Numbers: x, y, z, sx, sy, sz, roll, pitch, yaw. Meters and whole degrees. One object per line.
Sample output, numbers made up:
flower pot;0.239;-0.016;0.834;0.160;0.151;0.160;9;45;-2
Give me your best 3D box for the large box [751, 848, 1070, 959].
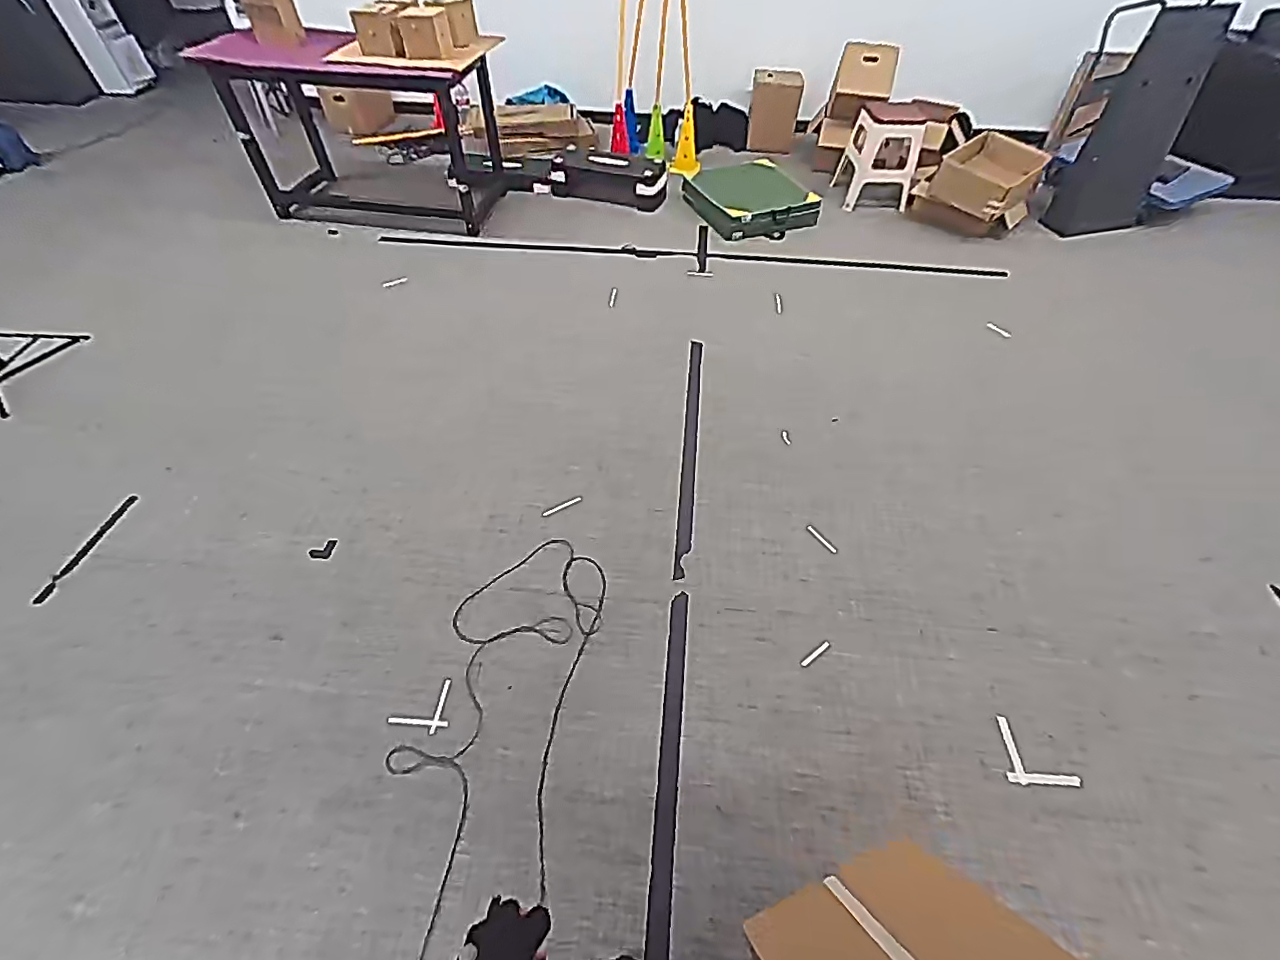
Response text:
large box;0.386;0.750;0.650;0.320;0.408;0.320;-18;83;-11
